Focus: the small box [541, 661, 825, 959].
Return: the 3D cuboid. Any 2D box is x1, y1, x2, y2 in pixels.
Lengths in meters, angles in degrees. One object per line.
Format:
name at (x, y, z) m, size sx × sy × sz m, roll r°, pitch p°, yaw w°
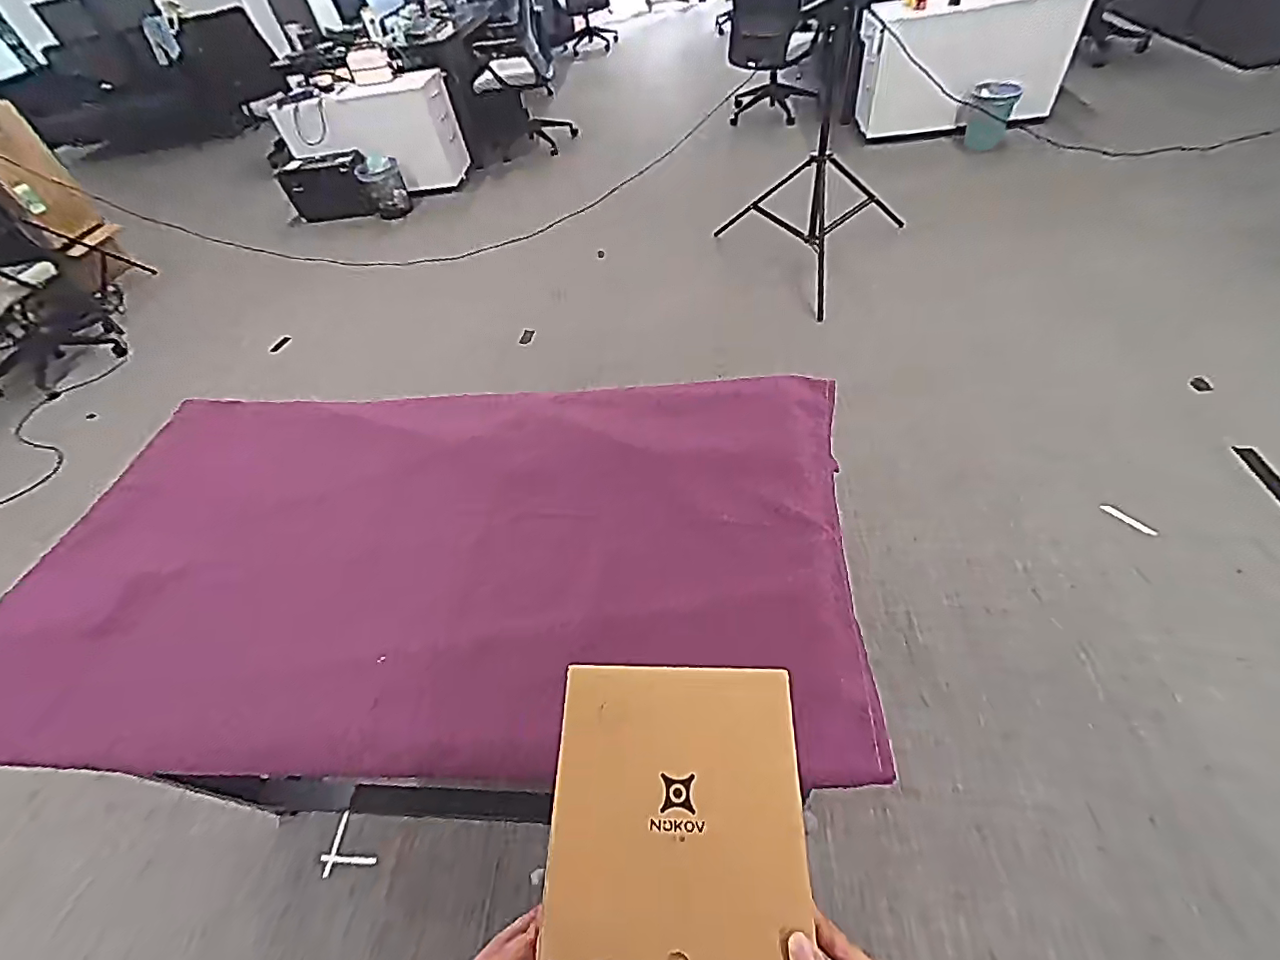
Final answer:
small box at (0.029, 0.253, 0.418) m, size 0.168 × 0.176 × 0.179 m, roll 0°, pitch 57°, yaw 3°
